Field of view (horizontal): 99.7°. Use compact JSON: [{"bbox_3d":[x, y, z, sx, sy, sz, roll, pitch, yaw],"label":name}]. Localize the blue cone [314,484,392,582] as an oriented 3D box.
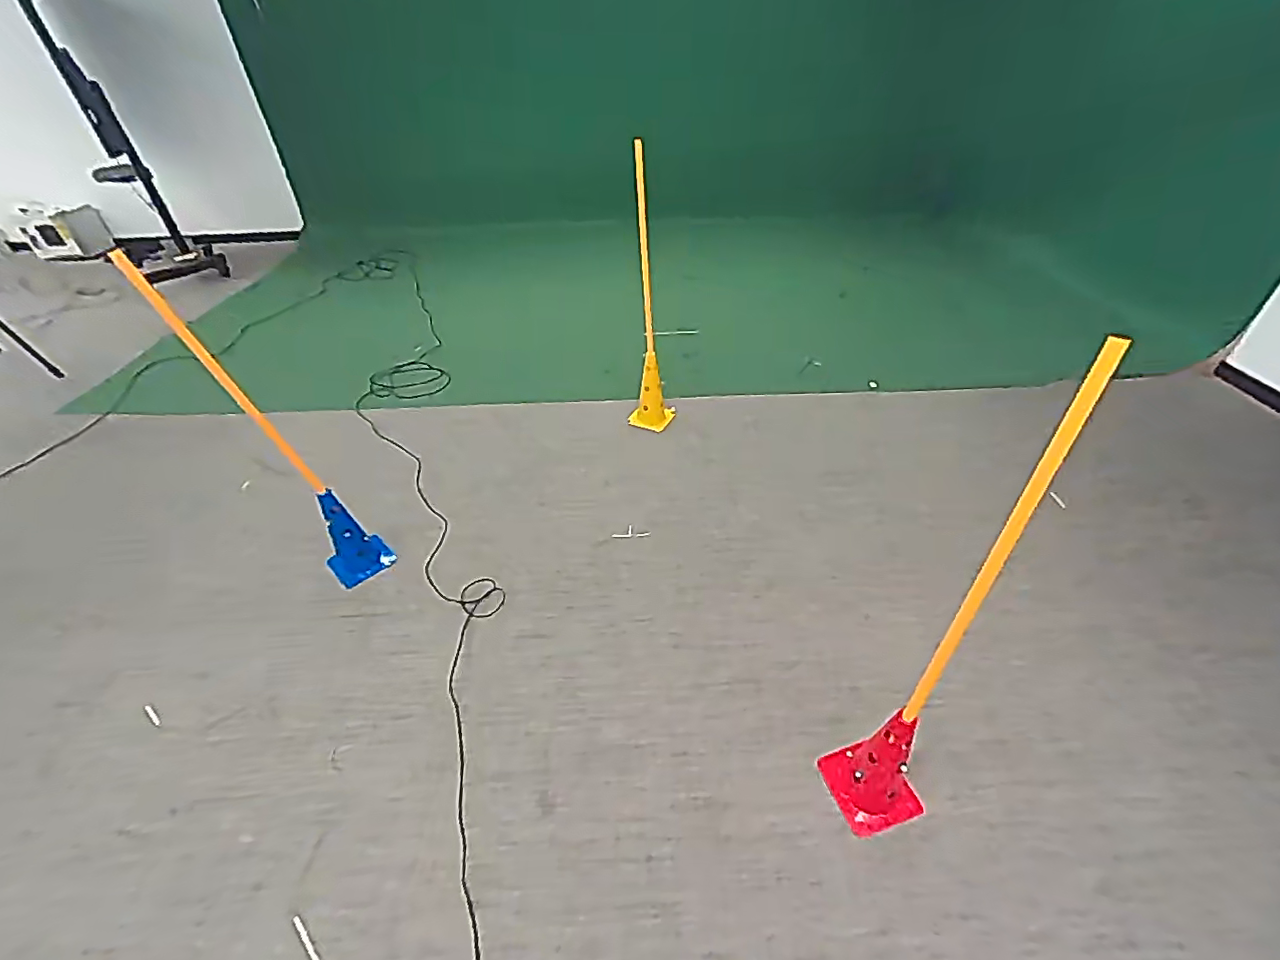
[{"bbox_3d":[-1.048,0.165,1.906,0.192,0.380,0.193,31,52,32],"label":"blue cone"}]
